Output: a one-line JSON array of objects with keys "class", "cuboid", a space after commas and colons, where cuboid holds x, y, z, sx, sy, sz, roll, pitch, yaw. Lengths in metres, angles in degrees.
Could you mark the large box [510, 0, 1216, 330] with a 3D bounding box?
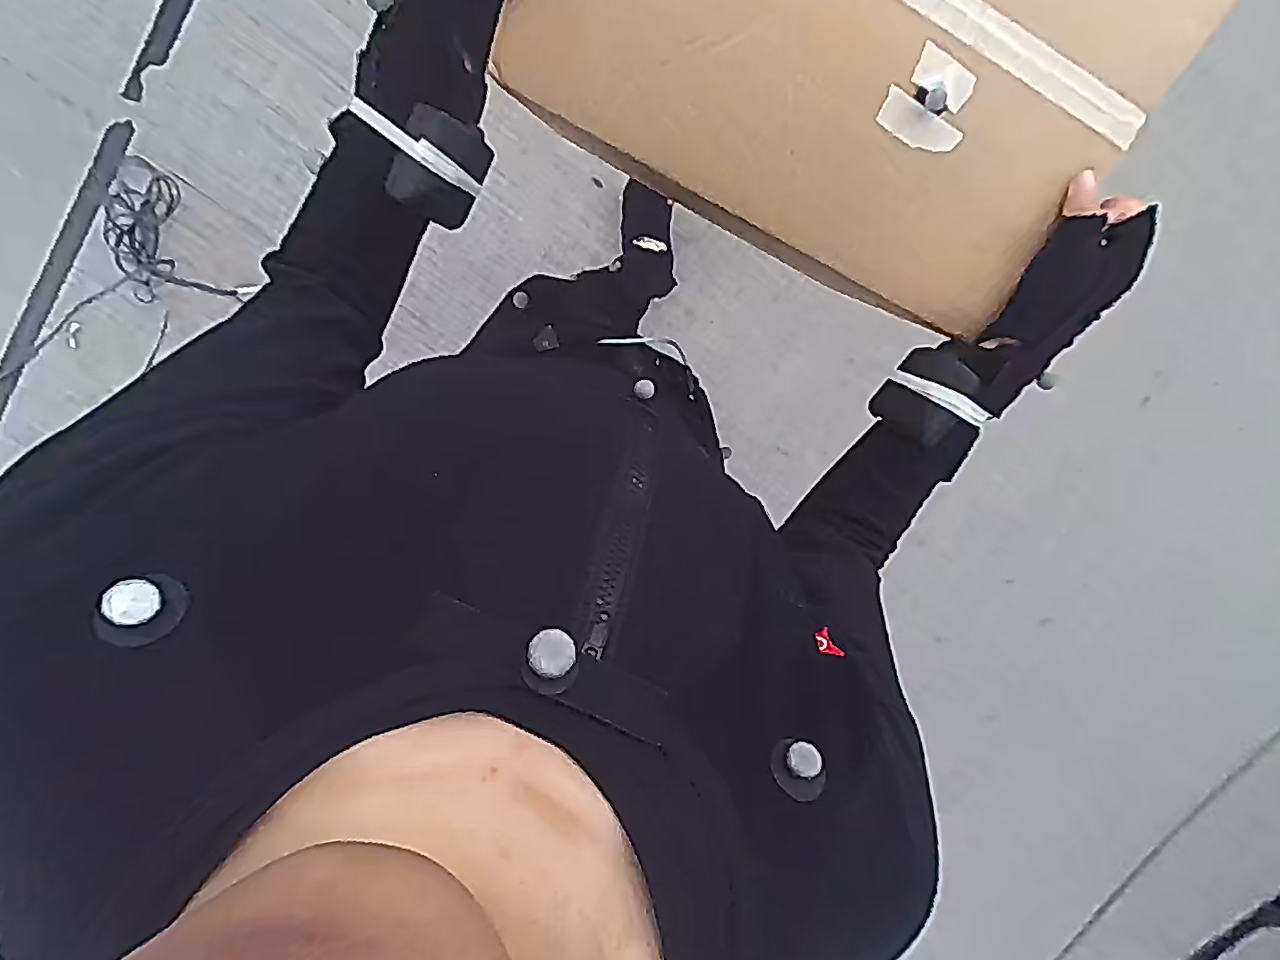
[{"class": "large box", "cuboid": [0.150, -0.384, 0.473, 0.408, 0.320, 0.320, 24, 115, -12]}]
